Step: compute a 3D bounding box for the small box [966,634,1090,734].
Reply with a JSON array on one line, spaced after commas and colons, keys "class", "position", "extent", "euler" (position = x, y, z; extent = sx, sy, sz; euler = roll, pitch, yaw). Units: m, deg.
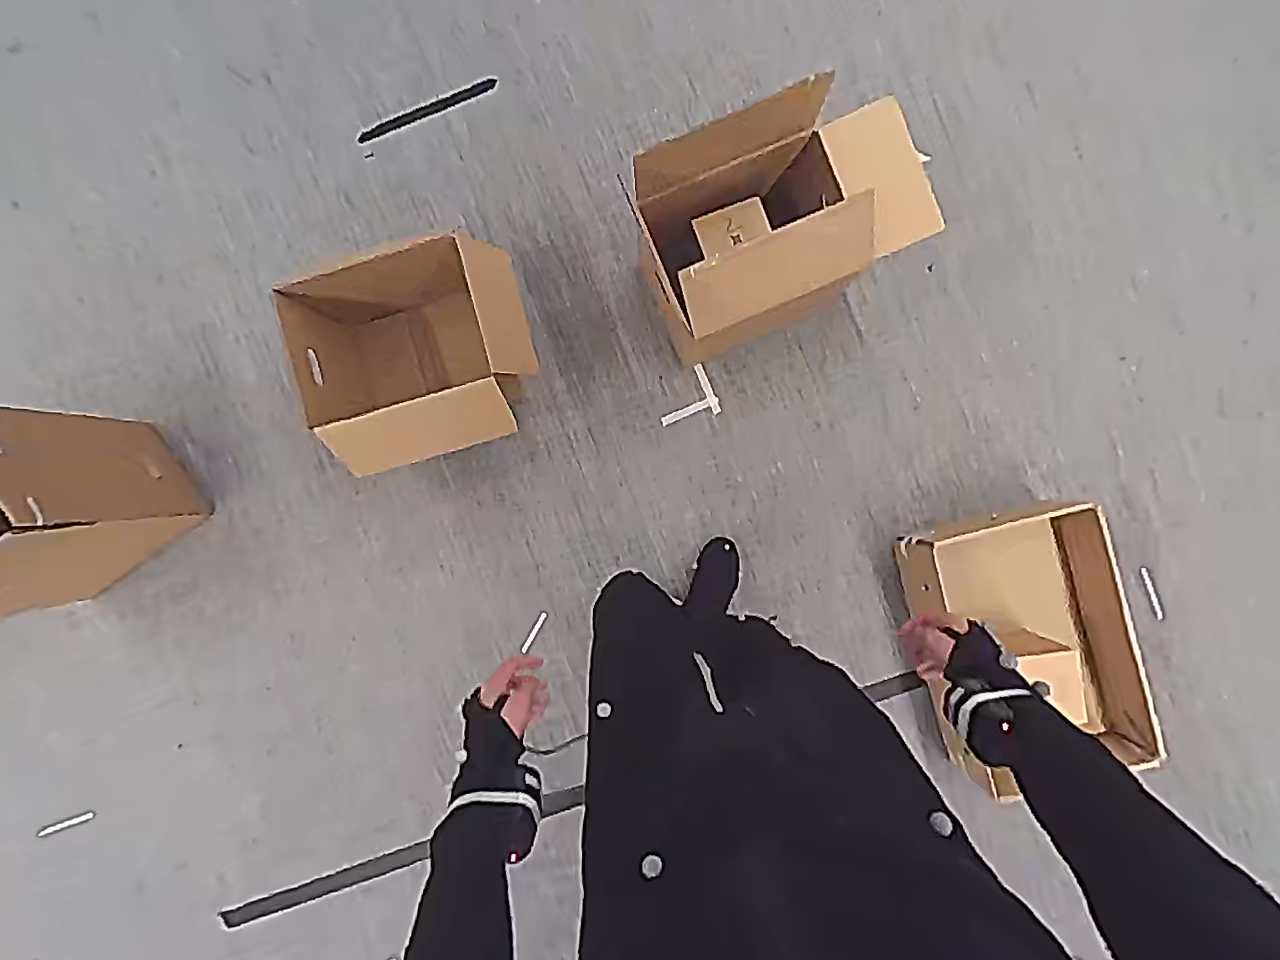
[{"class": "small box", "position": [0.894, 0.471, 1.267], "extent": [0.179, 0.176, 0.168], "euler": [-7, 90, 1]}]
